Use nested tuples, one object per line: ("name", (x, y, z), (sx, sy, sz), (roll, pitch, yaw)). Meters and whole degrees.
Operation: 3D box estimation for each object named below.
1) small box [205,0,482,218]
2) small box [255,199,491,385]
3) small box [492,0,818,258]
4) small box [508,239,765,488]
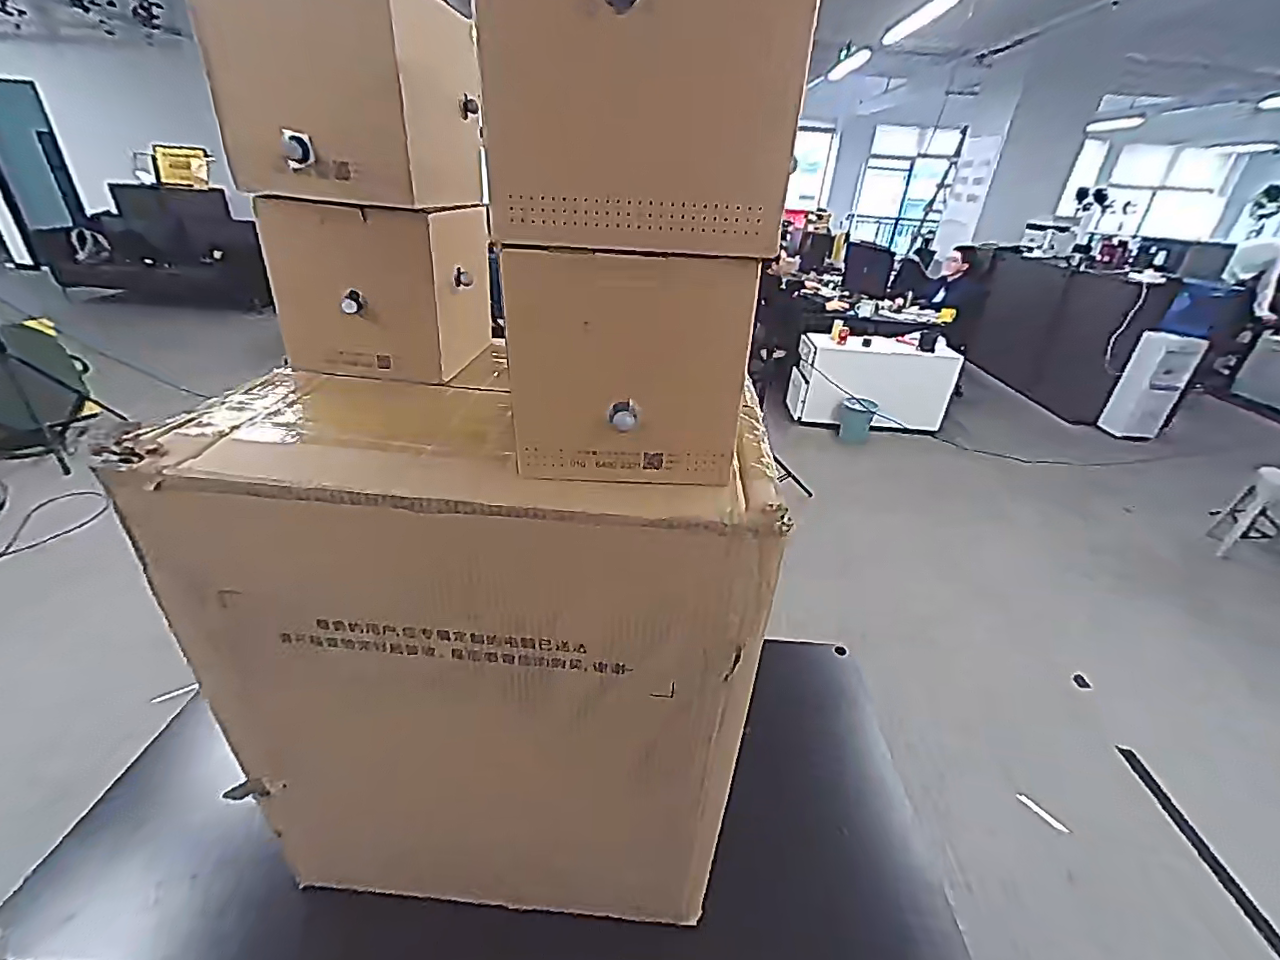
("small box", (-0.256, -0.349, 0.506), (0.168, 0.176, 0.179), (6, 30, 2))
("small box", (-0.270, -0.215, 0.600), (0.168, 0.176, 0.179), (6, 30, 0))
("small box", (0.008, -0.246, 0.355), (0.179, 0.176, 0.168), (4, 31, 1))
("small box", (-0.005, -0.110, 0.447), (0.168, 0.176, 0.179), (2, 30, 0))
